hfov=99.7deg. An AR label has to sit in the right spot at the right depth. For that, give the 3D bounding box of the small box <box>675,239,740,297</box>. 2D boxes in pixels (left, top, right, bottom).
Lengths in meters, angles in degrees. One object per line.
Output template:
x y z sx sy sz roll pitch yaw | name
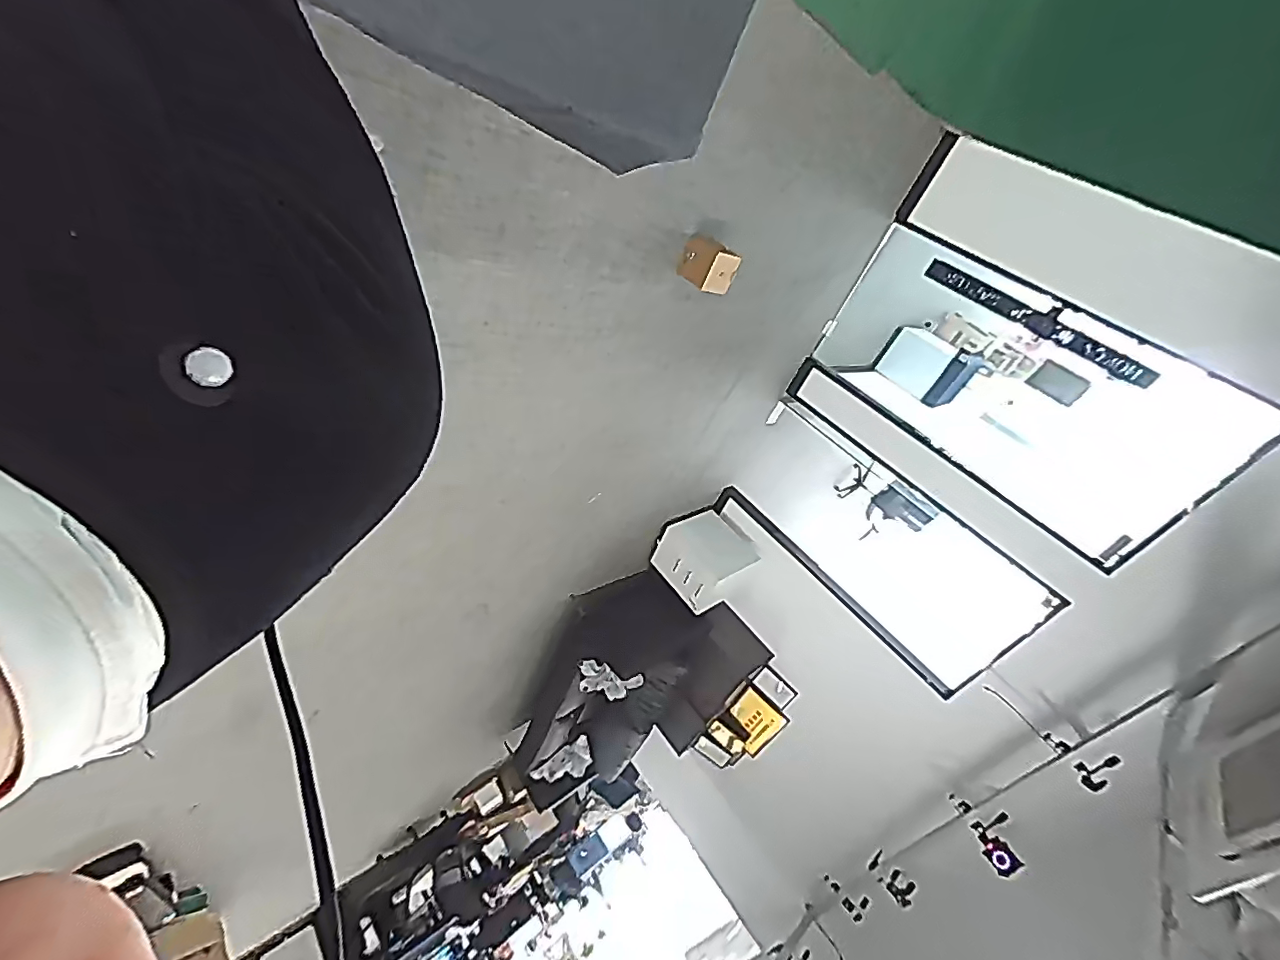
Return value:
0.282 -0.895 2.281 0.179 0.176 0.168 -10 135 -47 | small box
